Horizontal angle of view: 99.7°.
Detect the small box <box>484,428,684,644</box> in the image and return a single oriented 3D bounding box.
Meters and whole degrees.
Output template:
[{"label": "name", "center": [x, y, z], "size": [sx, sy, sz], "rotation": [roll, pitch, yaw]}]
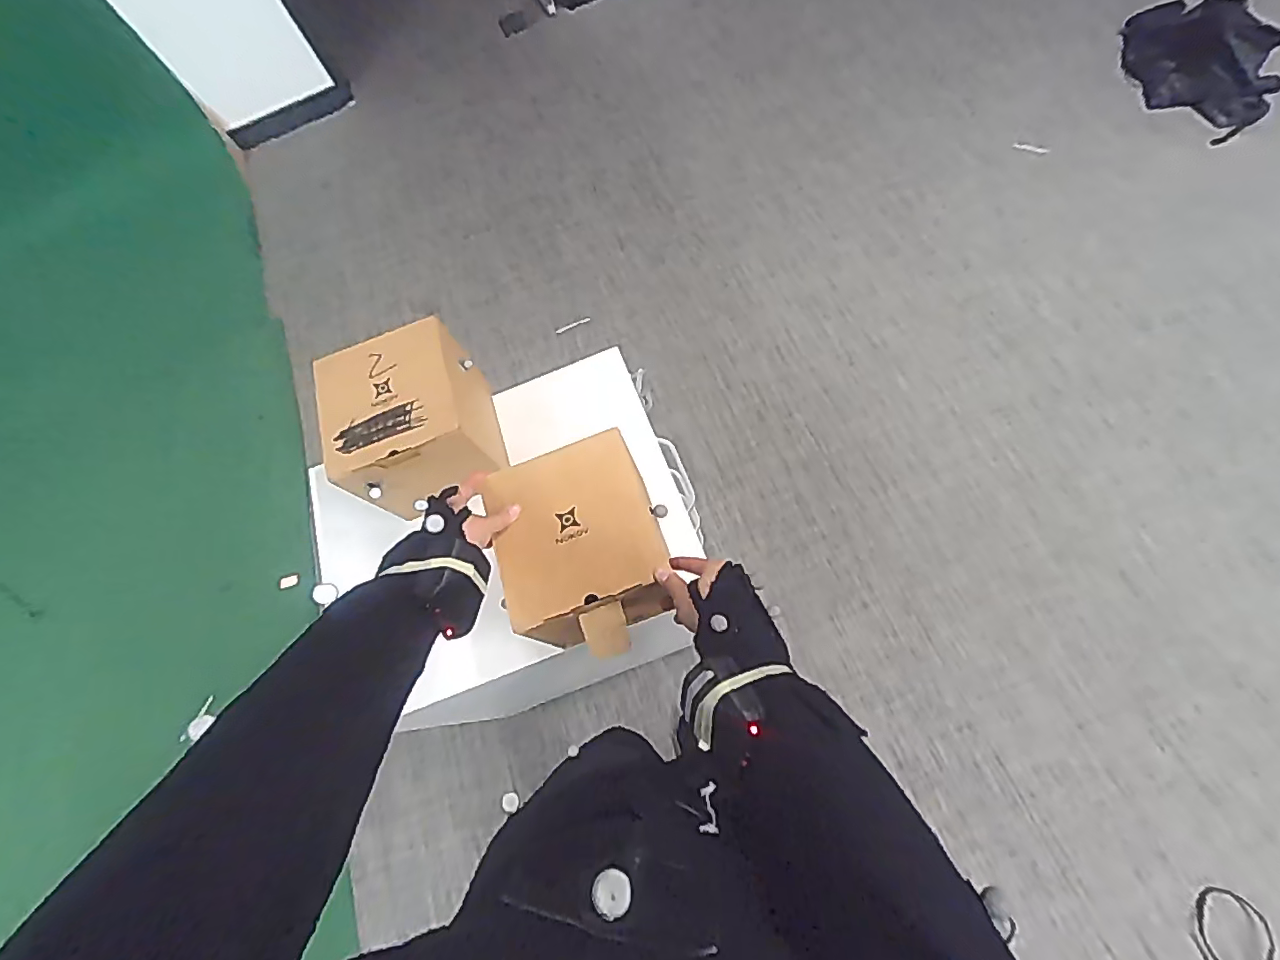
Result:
[{"label": "small box", "center": [-0.057, 0.074, 0.624], "size": [0.168, 0.176, 0.179], "rotation": [-21, 67, 1]}]
